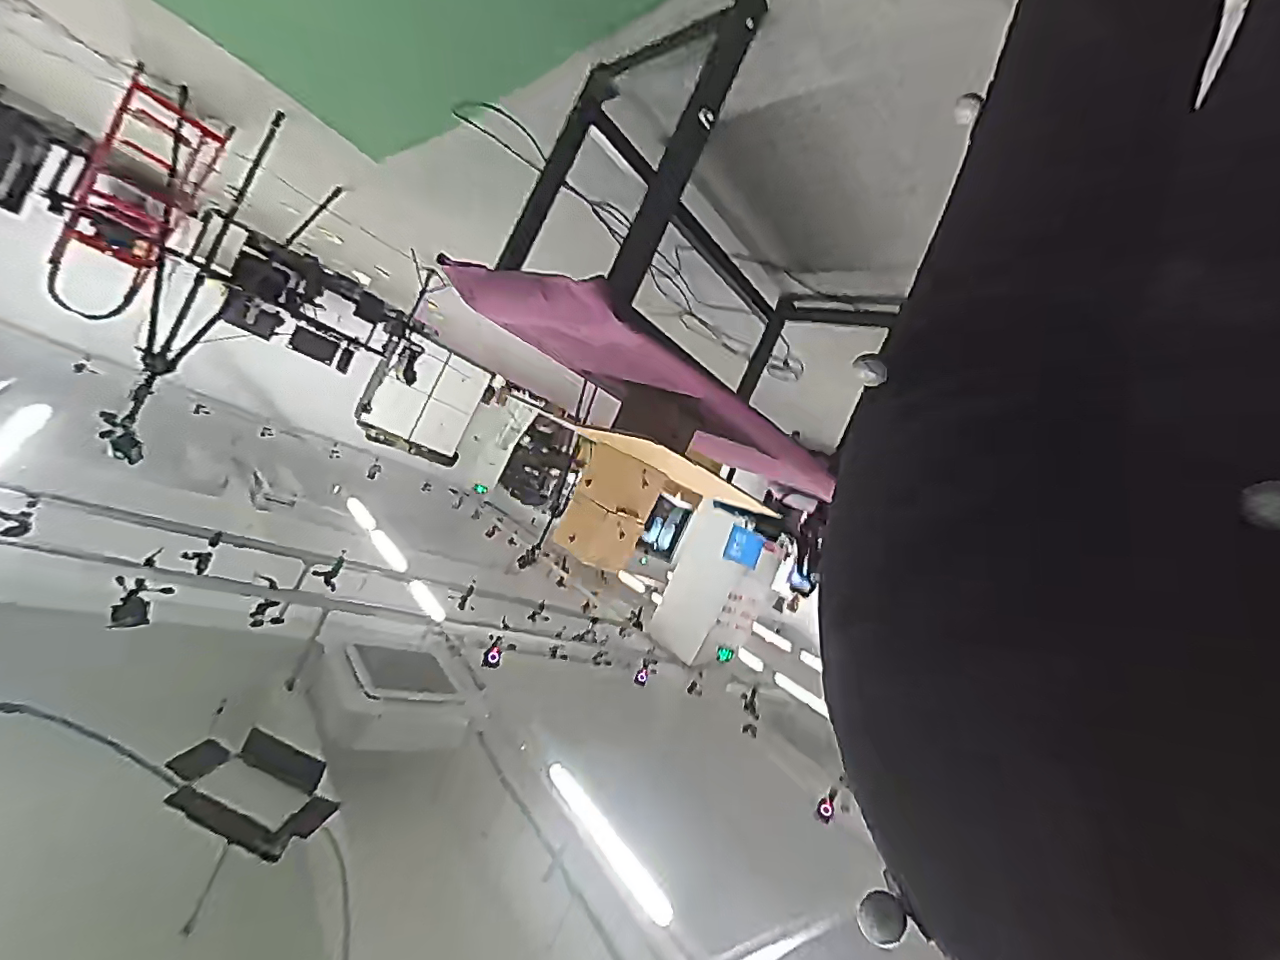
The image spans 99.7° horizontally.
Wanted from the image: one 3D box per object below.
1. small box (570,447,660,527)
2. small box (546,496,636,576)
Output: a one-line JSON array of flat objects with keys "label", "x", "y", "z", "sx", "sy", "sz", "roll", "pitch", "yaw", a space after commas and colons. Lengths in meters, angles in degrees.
[{"label": "small box", "x": -0.071, "y": 0.015, "z": 1.614, "sx": 0.179, "sy": 0.176, "sz": 0.168, "roll": 25, "pitch": 179, "yaw": 44}, {"label": "small box", "x": -0.143, "y": 0.161, "z": 1.613, "sx": 0.179, "sy": 0.176, "sz": 0.168, "roll": 25, "pitch": 178, "yaw": 45}]
